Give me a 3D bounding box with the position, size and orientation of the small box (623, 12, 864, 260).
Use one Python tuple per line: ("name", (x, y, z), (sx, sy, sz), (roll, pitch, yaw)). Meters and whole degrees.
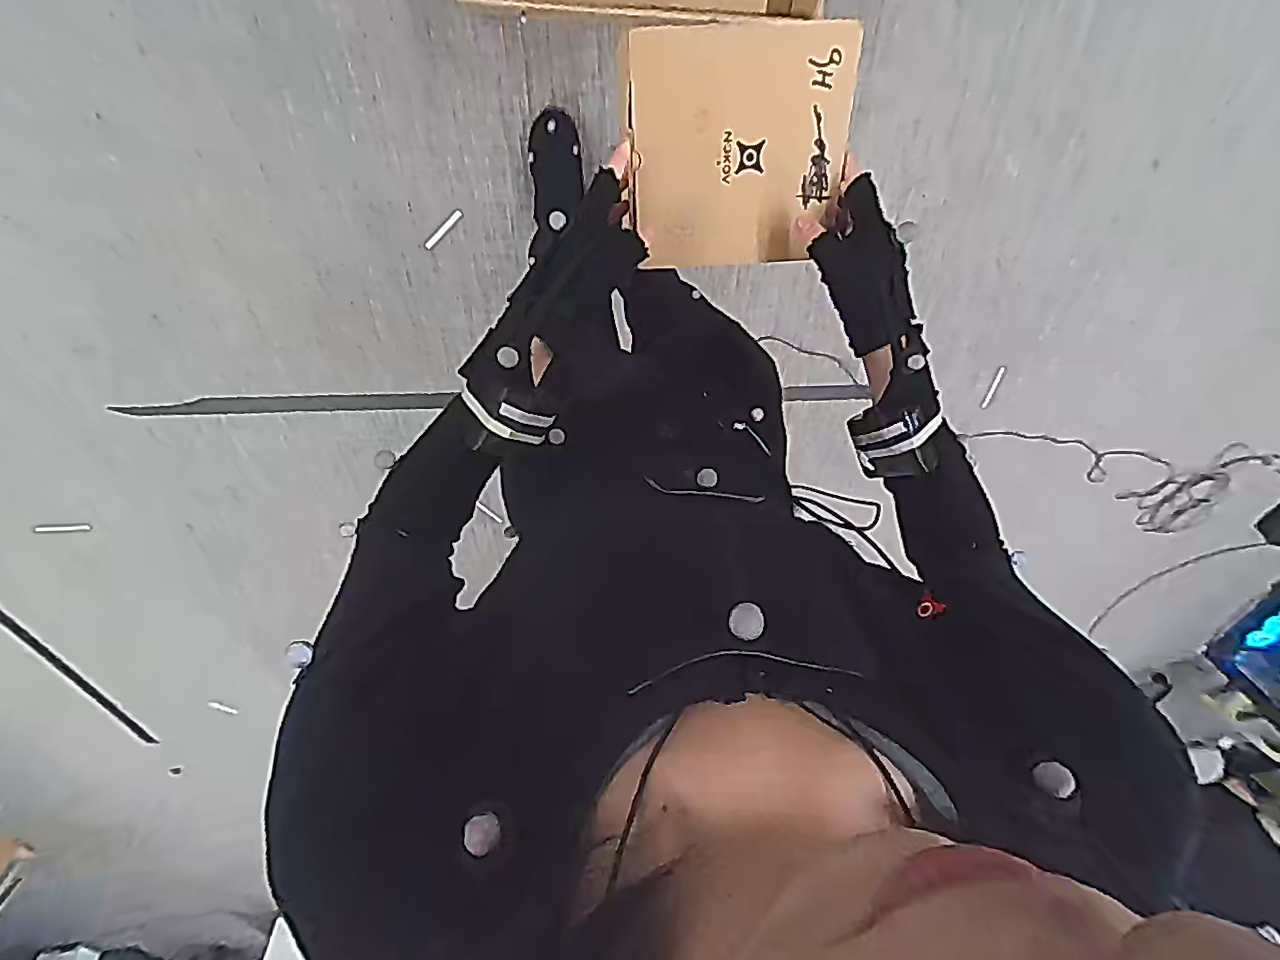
("small box", (0.075, -0.308, 0.499), (0.179, 0.176, 0.168), (-4, 123, -2))
